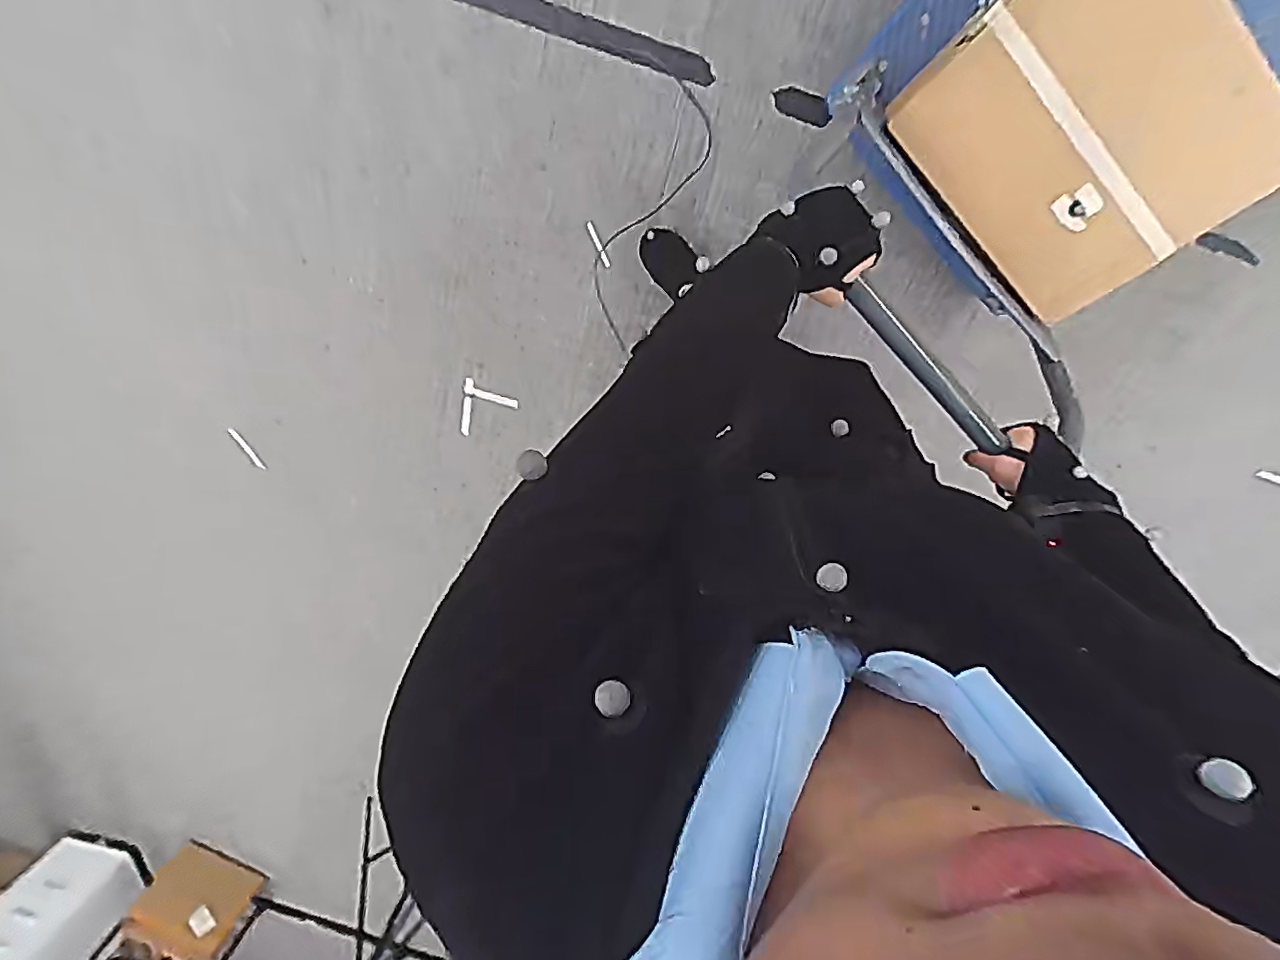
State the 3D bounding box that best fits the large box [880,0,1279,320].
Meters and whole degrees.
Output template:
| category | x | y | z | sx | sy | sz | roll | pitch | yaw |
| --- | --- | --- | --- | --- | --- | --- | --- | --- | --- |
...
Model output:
| category | x | y | z | sx | sy | sz | roll | pitch | yaw |
| --- | --- | --- | --- | --- | --- | --- | --- | --- | --- |
| large box | 0.633 | -0.540 | 0.836 | 0.408 | 0.320 | 0.320 | 42 | 131 | -12 |
